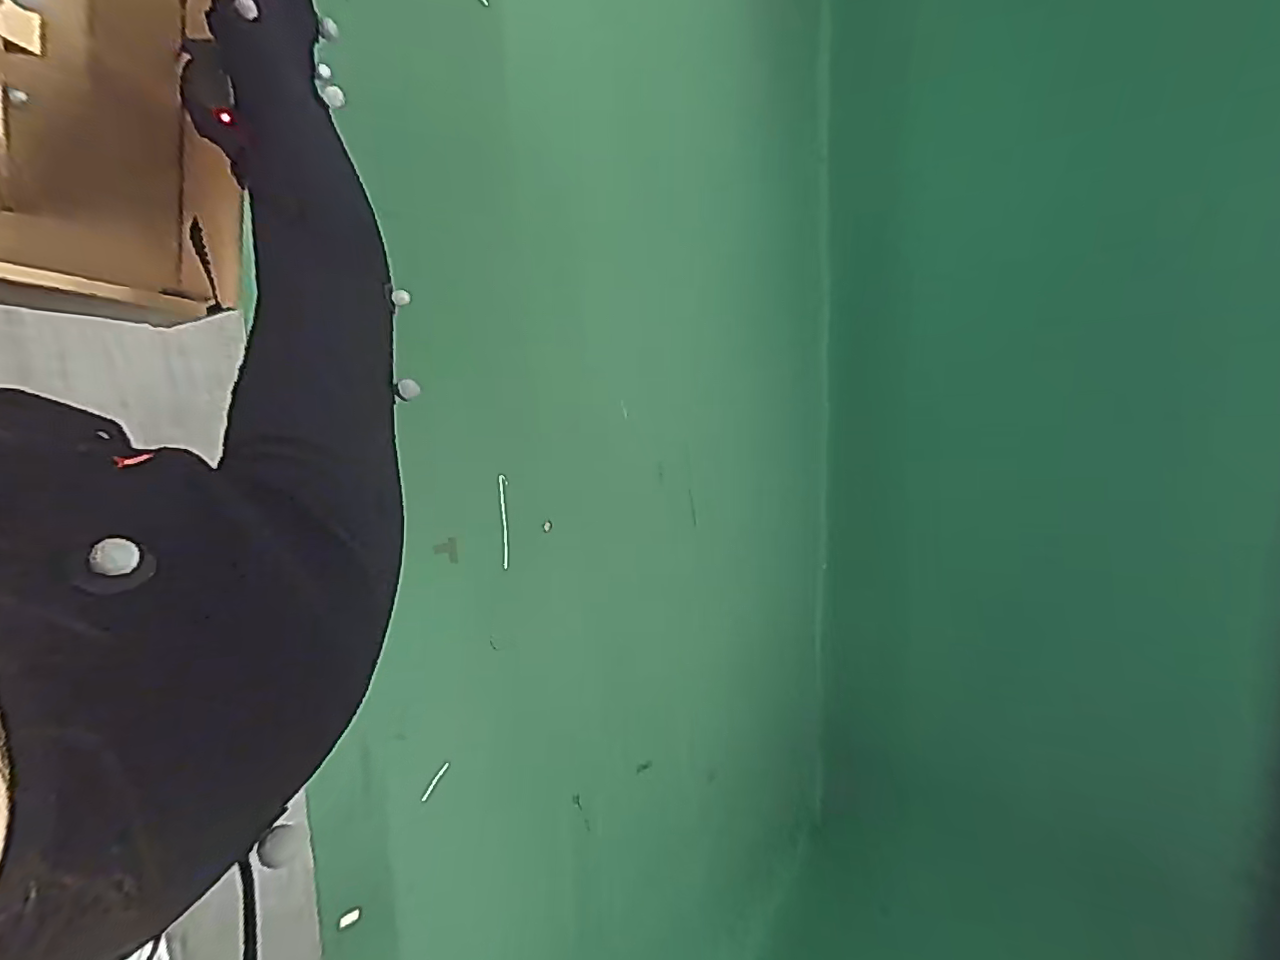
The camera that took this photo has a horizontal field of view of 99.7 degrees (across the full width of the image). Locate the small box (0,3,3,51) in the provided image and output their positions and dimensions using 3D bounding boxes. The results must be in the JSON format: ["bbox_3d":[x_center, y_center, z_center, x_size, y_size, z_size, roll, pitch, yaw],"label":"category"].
[{"bbox_3d":[-0.375,-0.286,0.201,0.179,0.176,0.168,-2,97,-51],"label":"small box"}]
